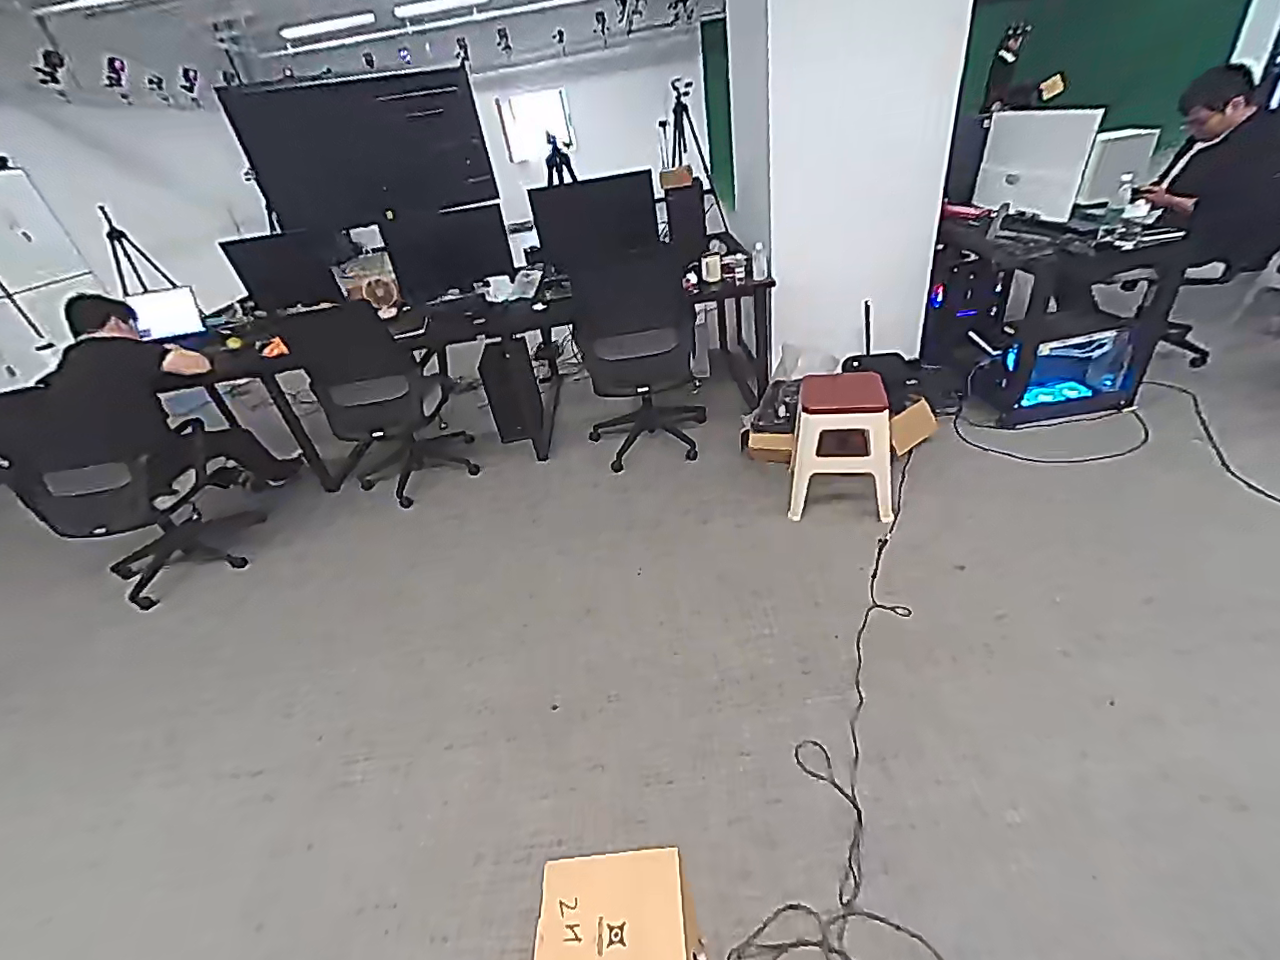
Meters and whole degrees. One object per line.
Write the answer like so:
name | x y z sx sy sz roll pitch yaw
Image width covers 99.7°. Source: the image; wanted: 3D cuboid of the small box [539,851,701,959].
small box | -0.016 0.587 0.659 0.179 0.176 0.168 -9 32 5
